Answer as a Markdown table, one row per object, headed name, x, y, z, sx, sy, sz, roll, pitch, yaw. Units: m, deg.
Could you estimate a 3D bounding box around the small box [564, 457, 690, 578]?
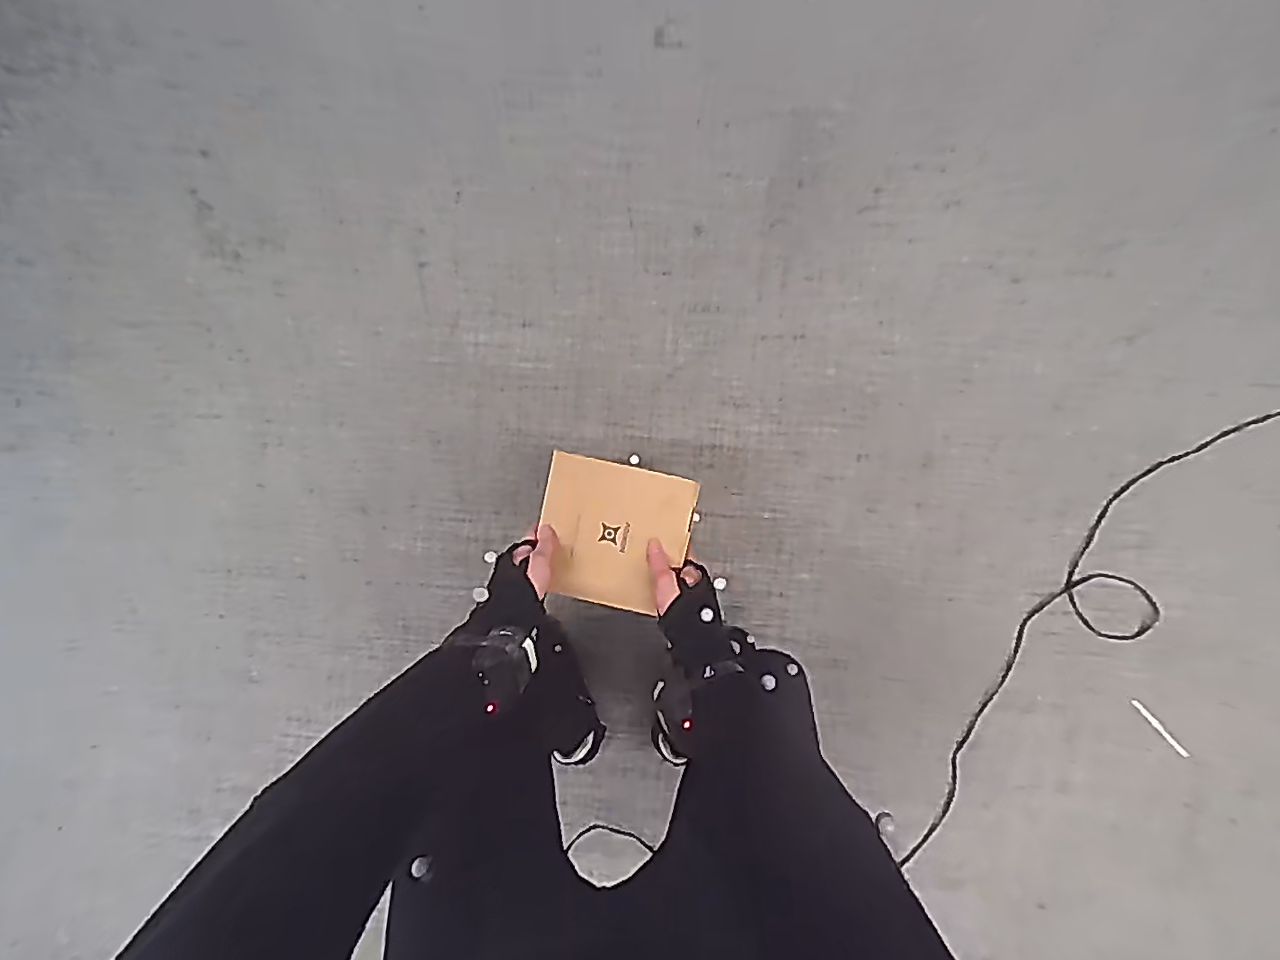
| name | x | y | z | sx | sy | sz | roll | pitch | yaw |
| --- | --- | --- | --- | --- | --- | --- | --- | --- | --- |
| small box | -0.014 | 0.067 | 0.983 | 0.179 | 0.176 | 0.168 | -19 | 87 | 5 |
